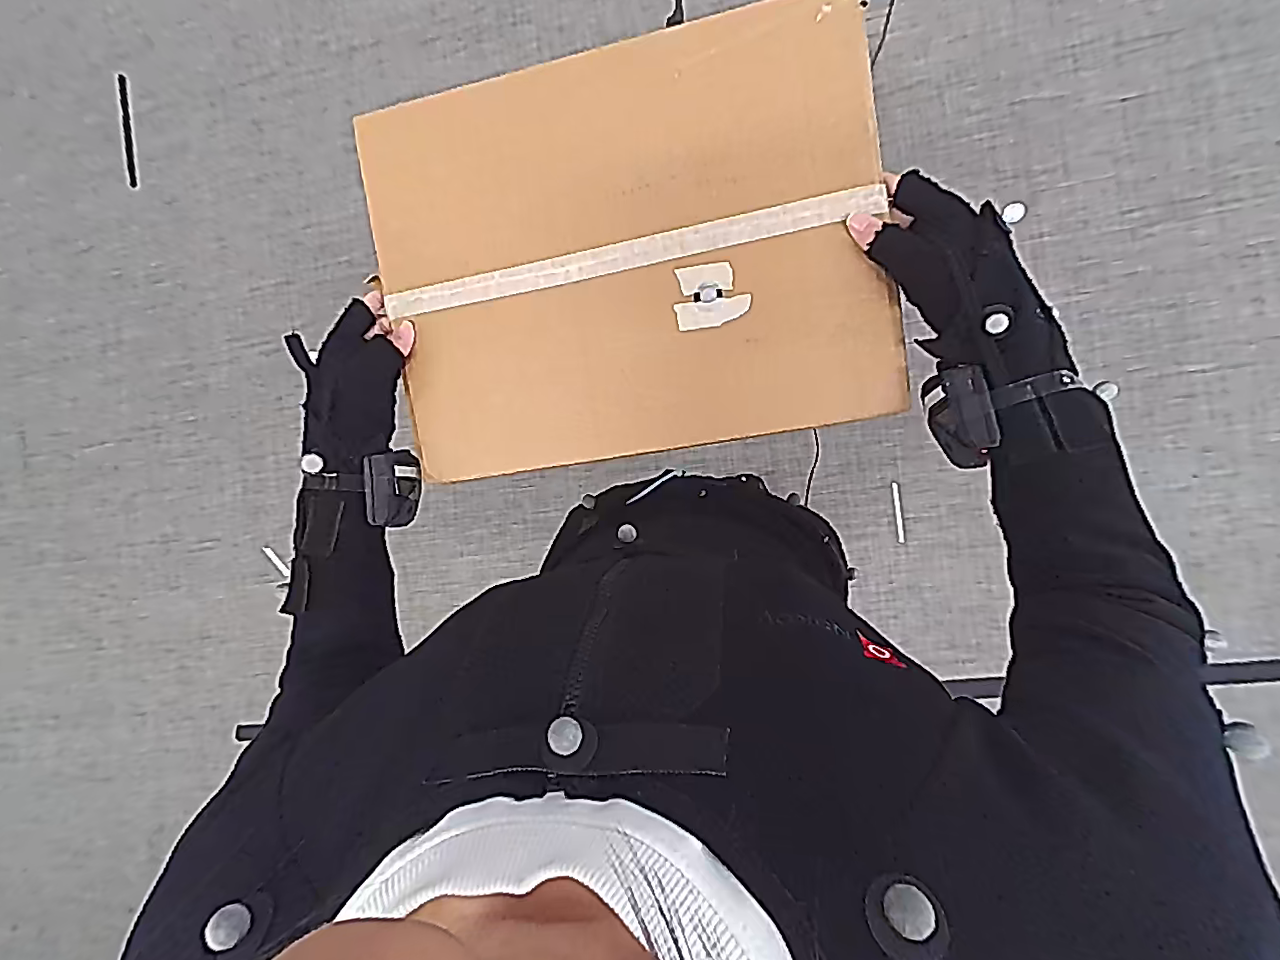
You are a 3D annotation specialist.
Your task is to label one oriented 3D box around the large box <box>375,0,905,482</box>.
[{"bbox_3d":[0.009,-0.194,0.589,0.408,0.320,0.320,-9,95,9],"label":"large box"}]
